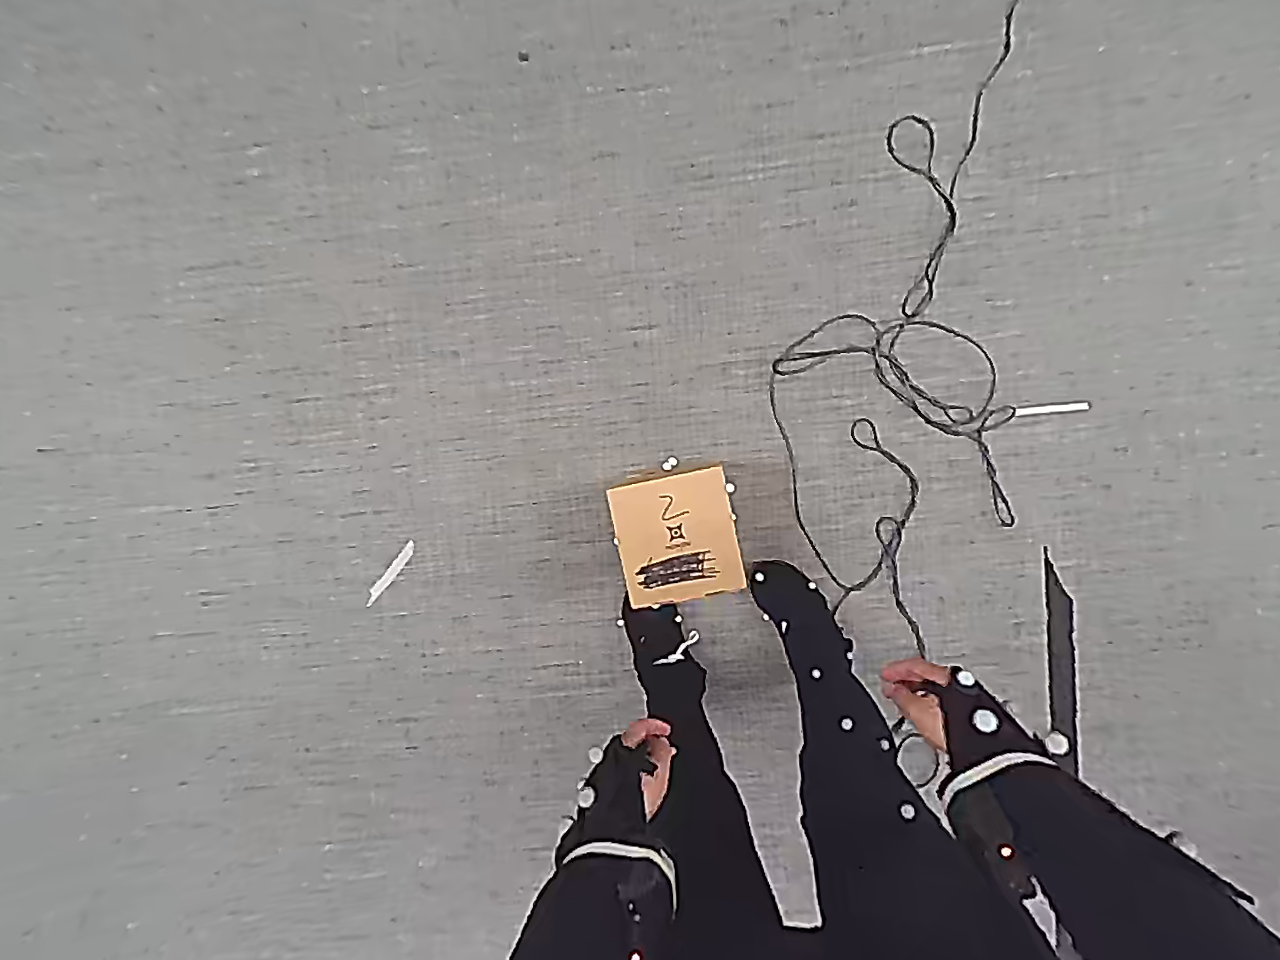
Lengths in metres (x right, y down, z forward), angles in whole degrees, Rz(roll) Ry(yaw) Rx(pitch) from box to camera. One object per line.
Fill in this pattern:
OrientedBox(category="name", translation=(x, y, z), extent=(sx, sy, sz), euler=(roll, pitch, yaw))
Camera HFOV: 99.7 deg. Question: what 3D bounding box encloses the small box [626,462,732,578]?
OrientedBox(category="small box", translation=(0.072, 0.067, 0.988), extent=(0.168, 0.176, 0.179), euler=(-7, 94, 4))
